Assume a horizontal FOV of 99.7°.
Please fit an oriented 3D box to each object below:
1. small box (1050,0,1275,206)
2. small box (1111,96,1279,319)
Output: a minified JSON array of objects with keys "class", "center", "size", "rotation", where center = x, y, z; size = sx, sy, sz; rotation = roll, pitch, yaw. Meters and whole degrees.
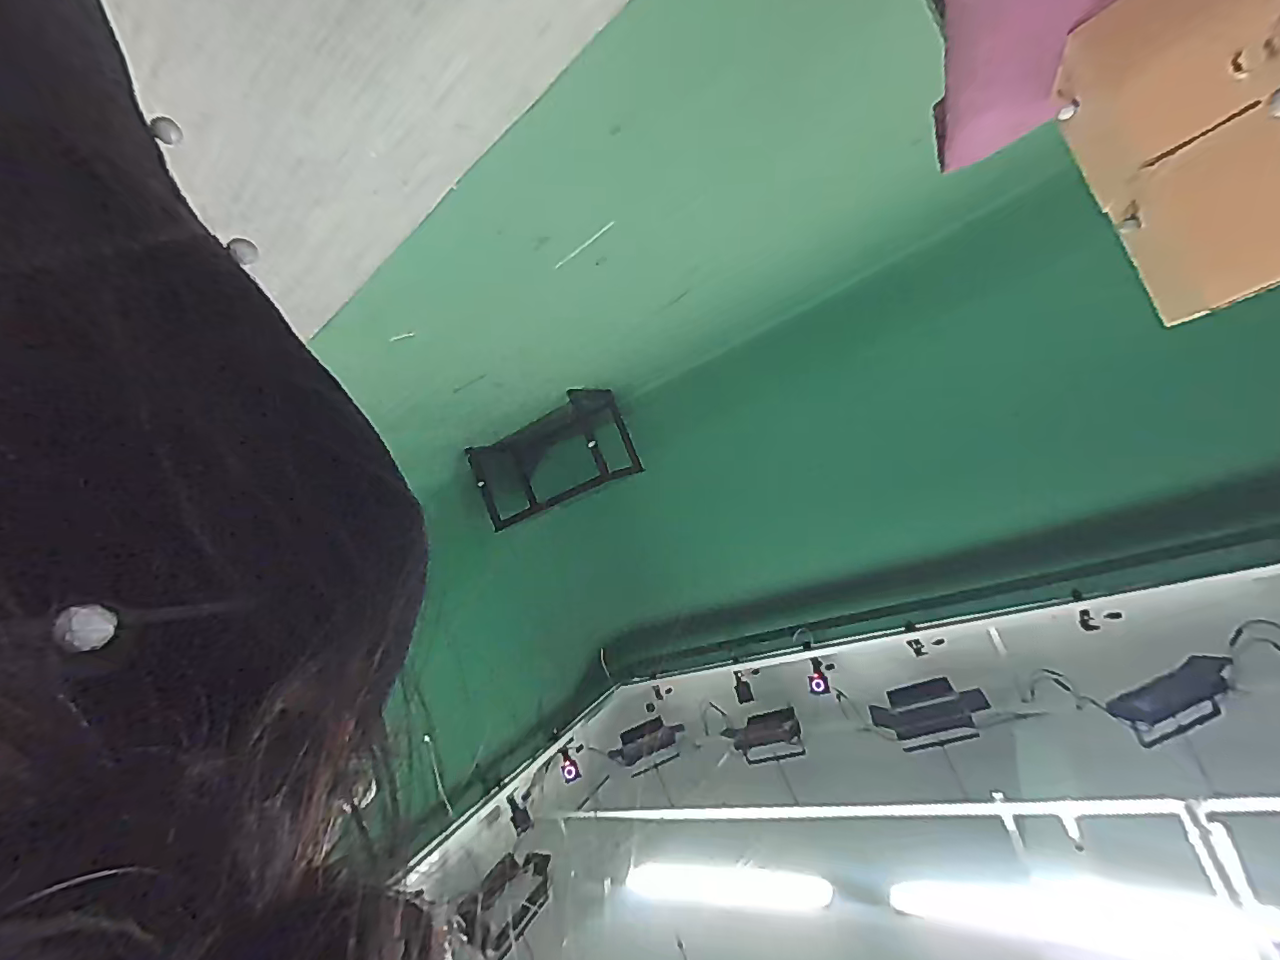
[{"class":"small box","center":[0.590,-0.445,0.584],"size":[0.179,0.176,0.168],"rotation":[-25,175,31]},{"class":"small box","center":[0.651,-0.295,0.568],"size":[0.179,0.176,0.168],"rotation":[-25,174,33]}]
